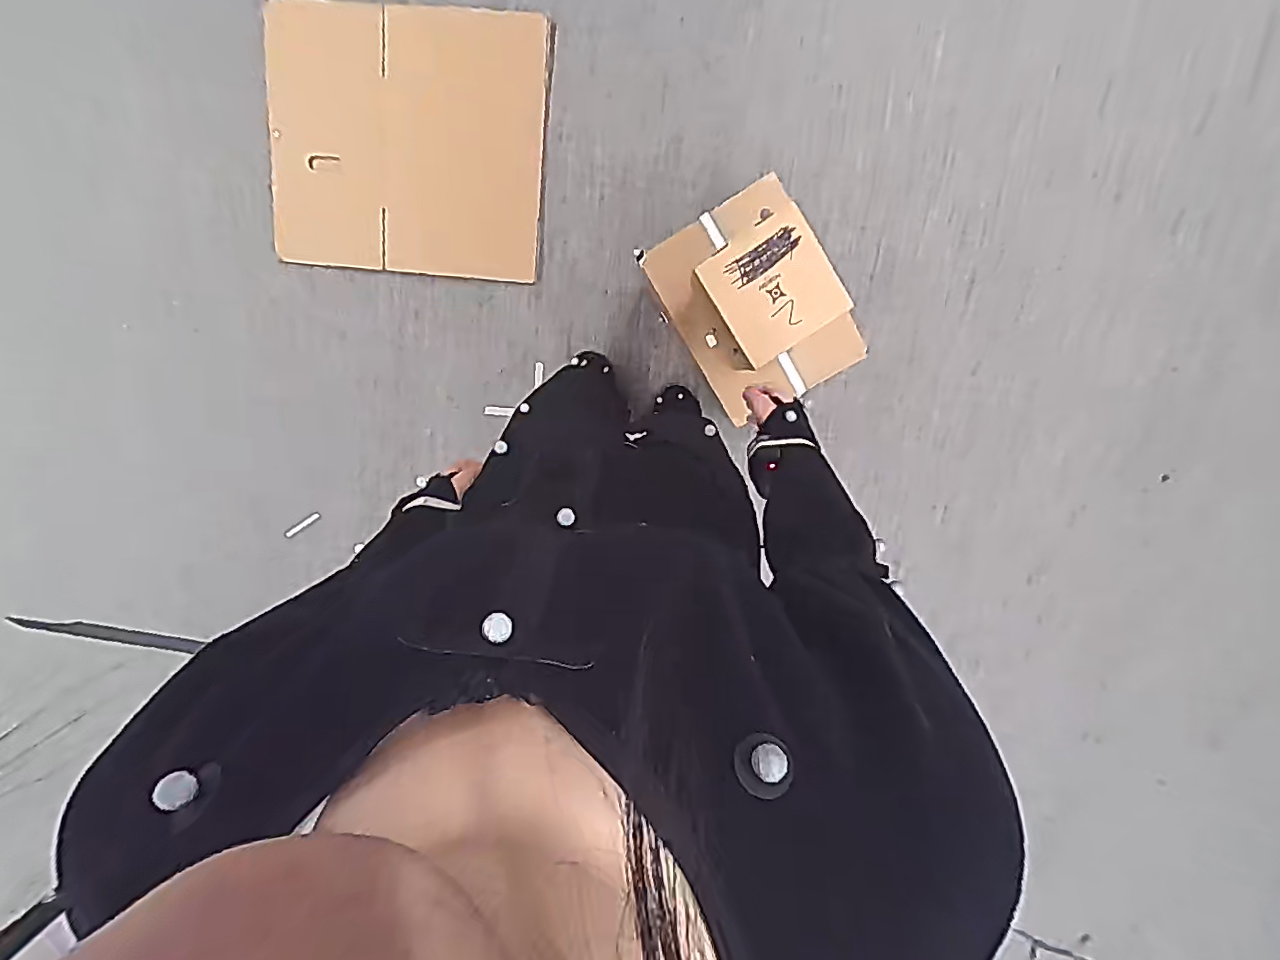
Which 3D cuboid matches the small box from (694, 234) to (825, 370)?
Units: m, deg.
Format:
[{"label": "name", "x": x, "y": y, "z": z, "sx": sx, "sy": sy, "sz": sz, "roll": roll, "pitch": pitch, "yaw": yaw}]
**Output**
[{"label": "small box", "x": 0.212, "y": -0.320, "z": 1.012, "sx": 0.168, "sy": 0.176, "sz": 0.179, "roll": -32, "pitch": 99, "yaw": 10}]
